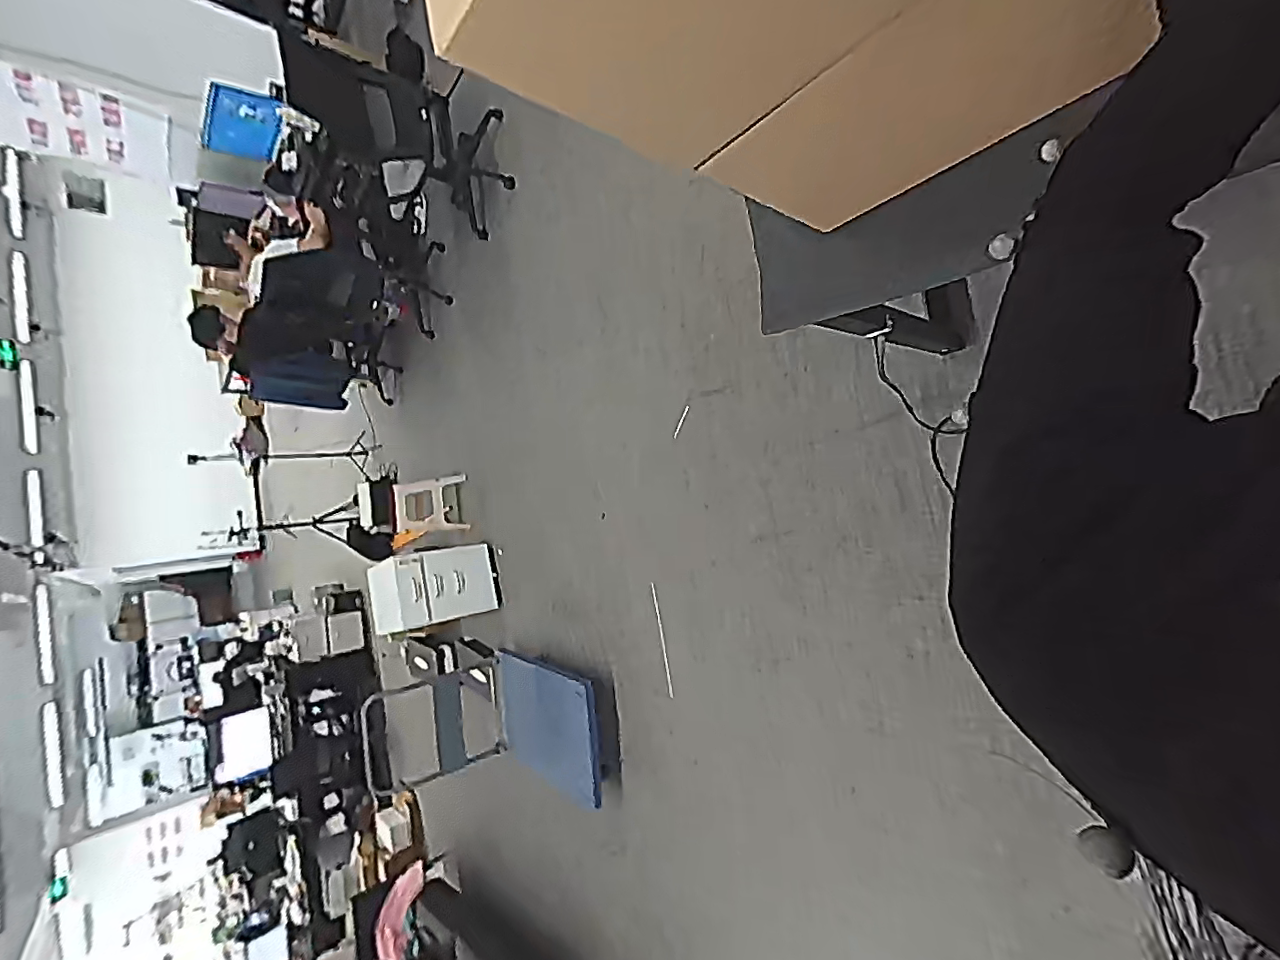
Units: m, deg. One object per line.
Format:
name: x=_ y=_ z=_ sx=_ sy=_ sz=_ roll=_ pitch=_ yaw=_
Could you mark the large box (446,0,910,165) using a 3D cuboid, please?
large box: x=0.066 y=-0.544 z=0.419 sx=0.408 sy=0.320 sz=0.320 roll=-12 pitch=86 yaw=46
